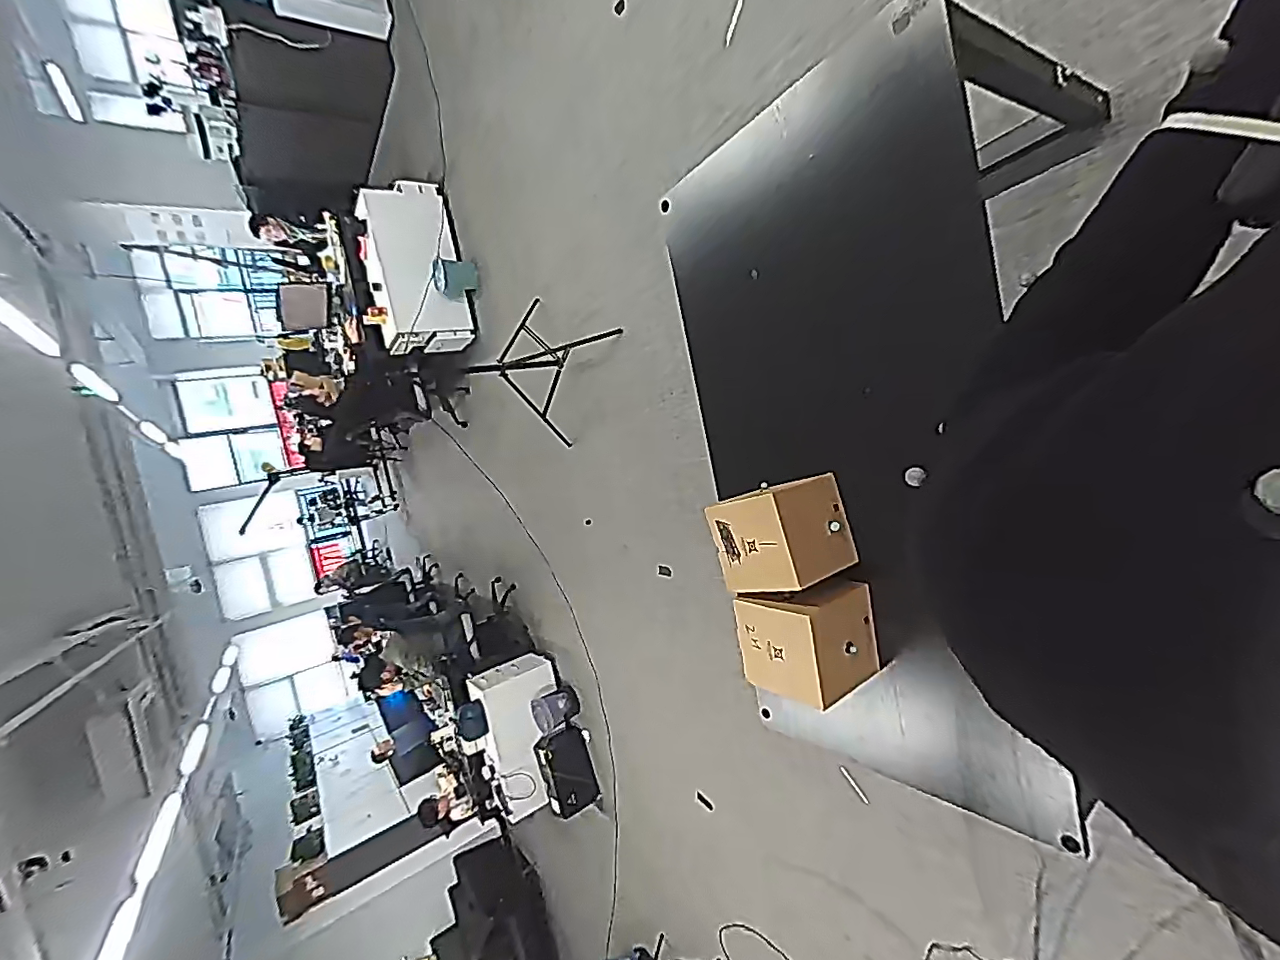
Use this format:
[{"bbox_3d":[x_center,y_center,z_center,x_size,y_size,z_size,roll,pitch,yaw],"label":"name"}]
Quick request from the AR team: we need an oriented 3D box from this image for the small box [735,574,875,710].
[{"bbox_3d":[0.301,0.277,0.972,0.179,0.176,0.168,-2,99,56],"label":"small box"}]
